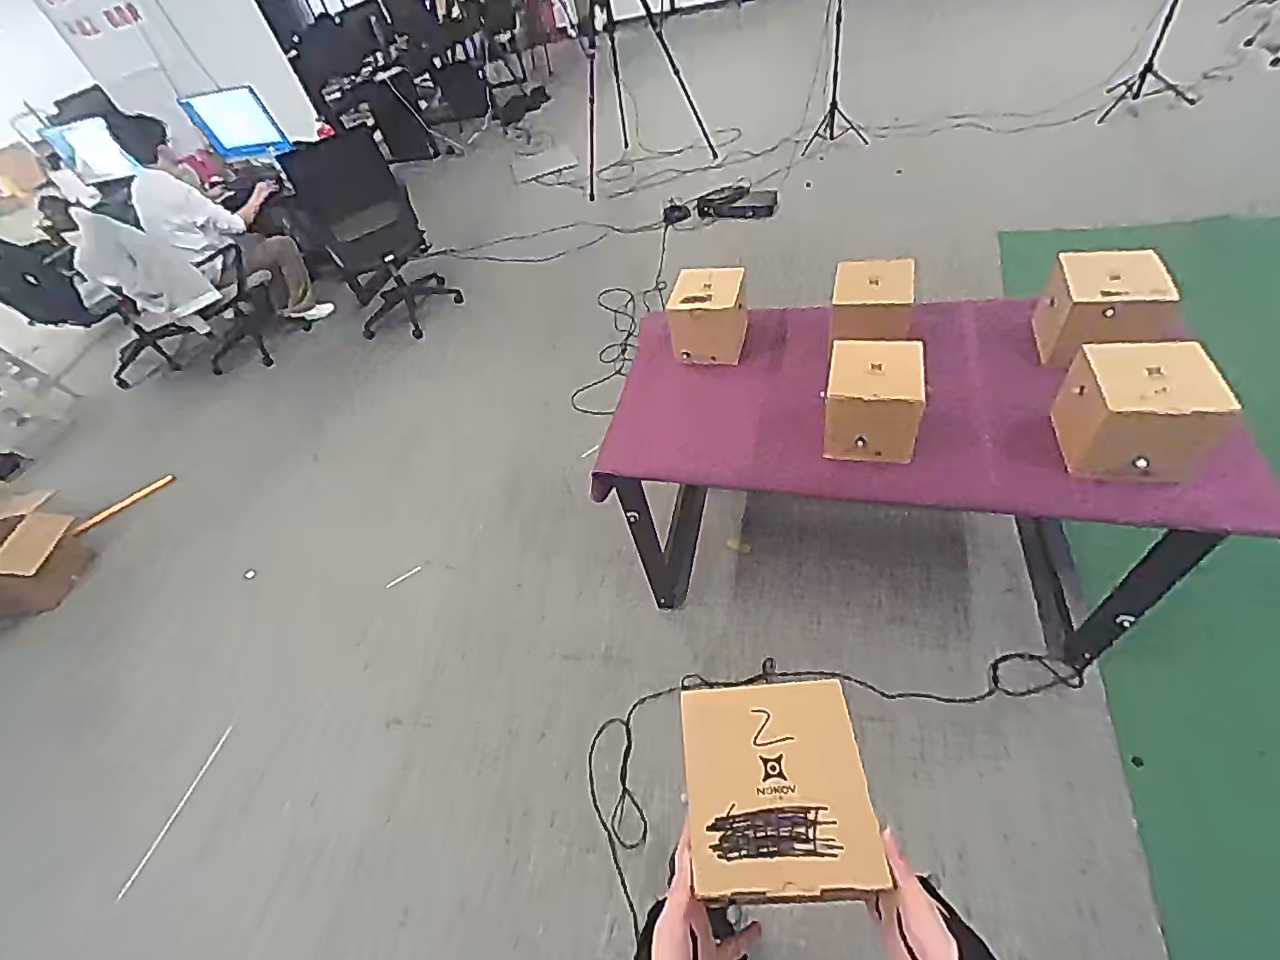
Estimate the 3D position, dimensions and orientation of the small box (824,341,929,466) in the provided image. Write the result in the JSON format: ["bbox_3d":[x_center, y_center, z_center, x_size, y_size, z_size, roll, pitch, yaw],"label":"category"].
[{"bbox_3d":[0.465,-0.153,1.079,0.168,0.176,0.179,7,52,18],"label":"small box"}]

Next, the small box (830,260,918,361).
[{"bbox_3d":[0.540,-0.391,1.260,0.168,0.176,0.179,7,54,20],"label":"small box"}]

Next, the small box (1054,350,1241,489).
[{"bbox_3d":[0.860,-0.107,0.943,0.168,0.176,0.179,4,52,18],"label":"small box"}]

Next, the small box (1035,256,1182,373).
[{"bbox_3d":[0.950,-0.340,1.119,0.168,0.176,0.179,6,53,19],"label":"small box"}]

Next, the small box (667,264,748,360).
[{"bbox_3d":[0.178,-0.421,1.363,0.168,0.176,0.179,7,54,17],"label":"small box"}]
